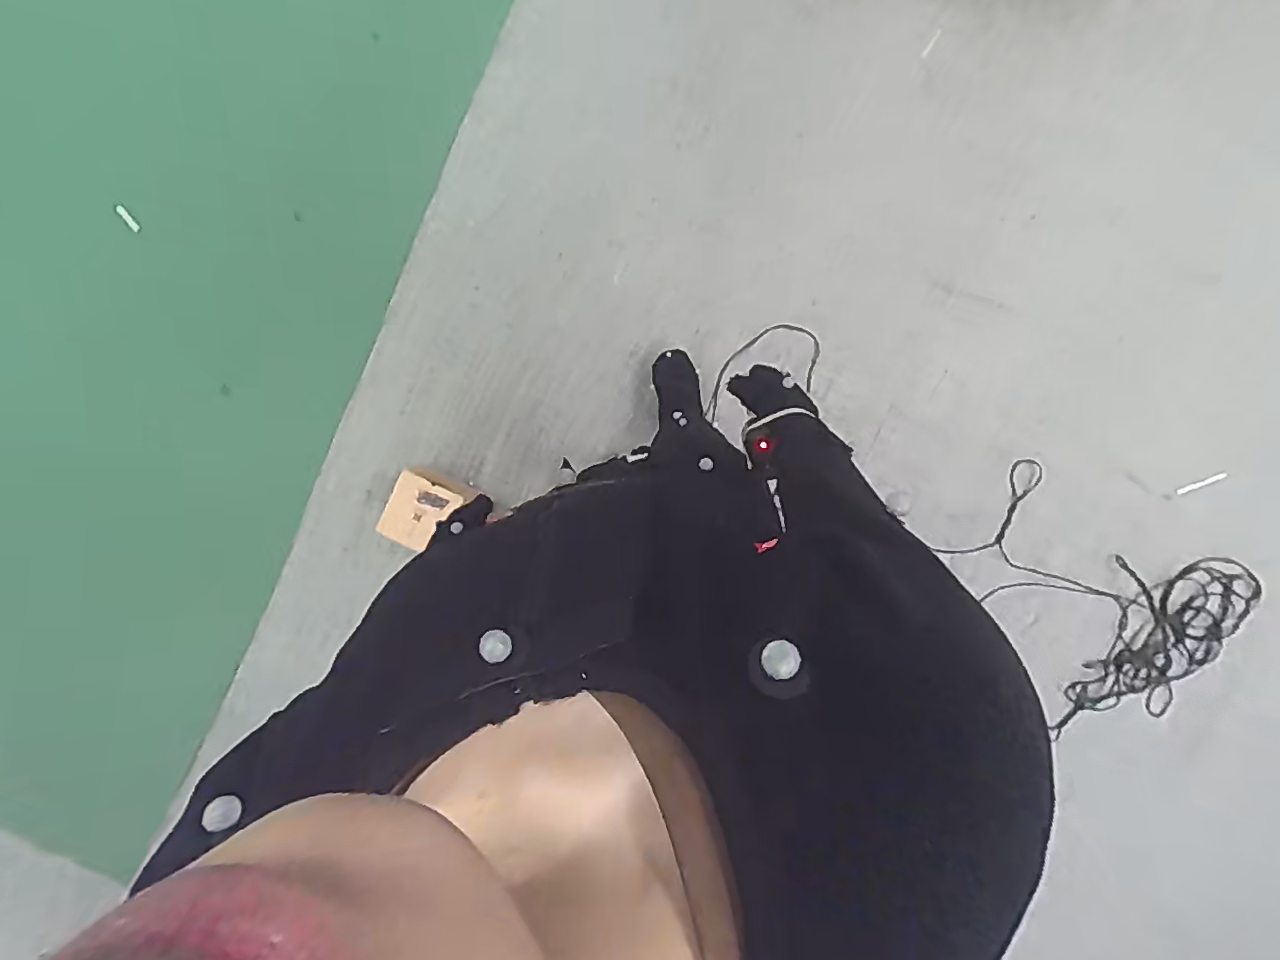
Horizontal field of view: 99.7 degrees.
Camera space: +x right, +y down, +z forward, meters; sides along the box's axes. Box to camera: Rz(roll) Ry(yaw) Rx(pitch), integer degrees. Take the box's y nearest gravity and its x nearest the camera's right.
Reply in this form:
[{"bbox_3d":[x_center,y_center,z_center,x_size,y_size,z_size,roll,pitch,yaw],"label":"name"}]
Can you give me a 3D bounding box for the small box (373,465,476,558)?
[{"bbox_3d":[-0.543,0.072,1.390,0.168,0.176,0.179,27,95,-3],"label":"small box"}]
